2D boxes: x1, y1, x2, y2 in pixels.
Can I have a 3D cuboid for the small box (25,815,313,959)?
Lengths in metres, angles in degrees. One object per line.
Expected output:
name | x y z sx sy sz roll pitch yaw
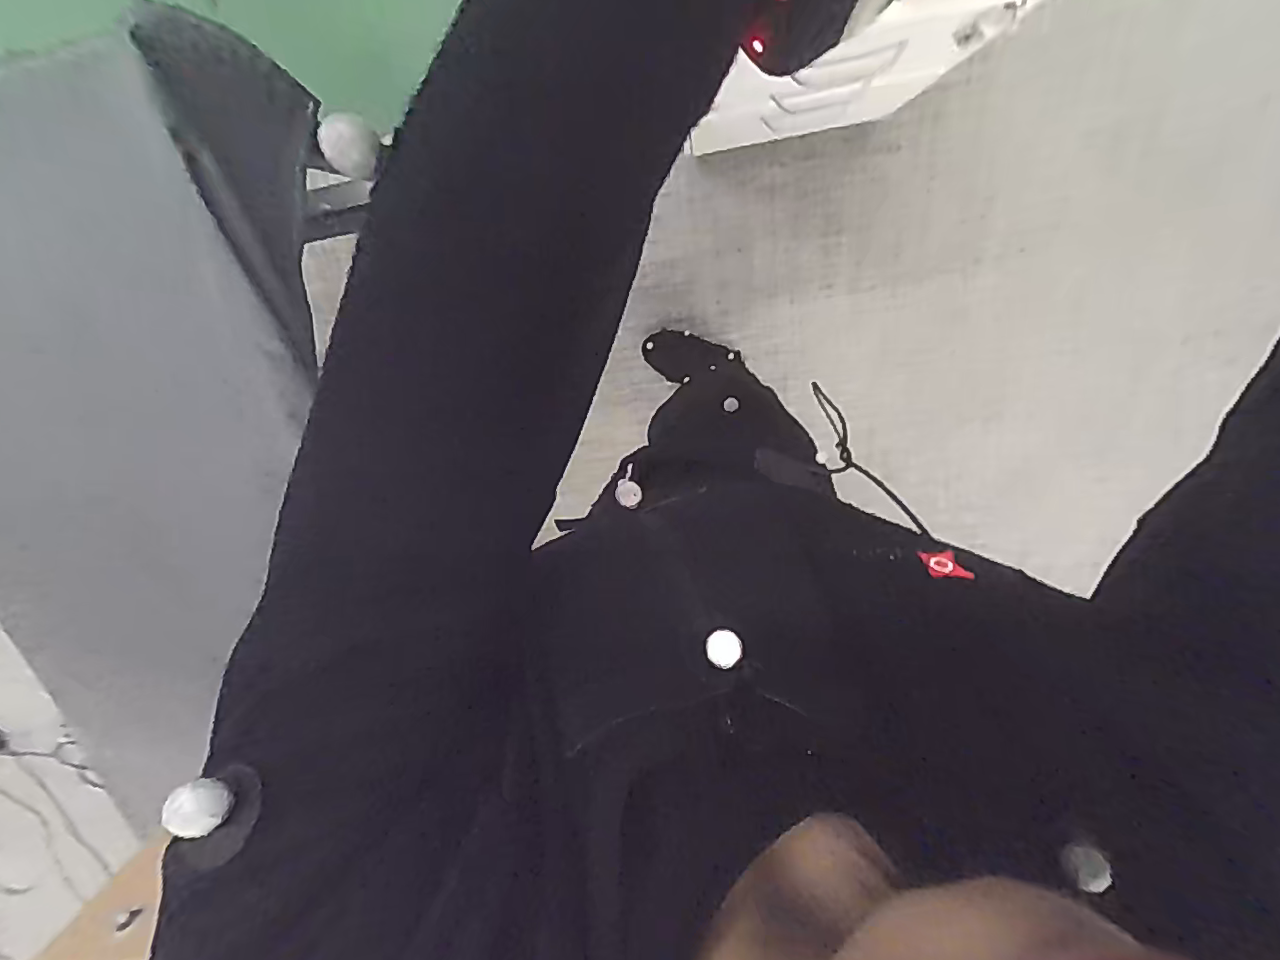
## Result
small box | -0.510 0.509 0.608 0.179 0.176 0.168 -12 109 11
